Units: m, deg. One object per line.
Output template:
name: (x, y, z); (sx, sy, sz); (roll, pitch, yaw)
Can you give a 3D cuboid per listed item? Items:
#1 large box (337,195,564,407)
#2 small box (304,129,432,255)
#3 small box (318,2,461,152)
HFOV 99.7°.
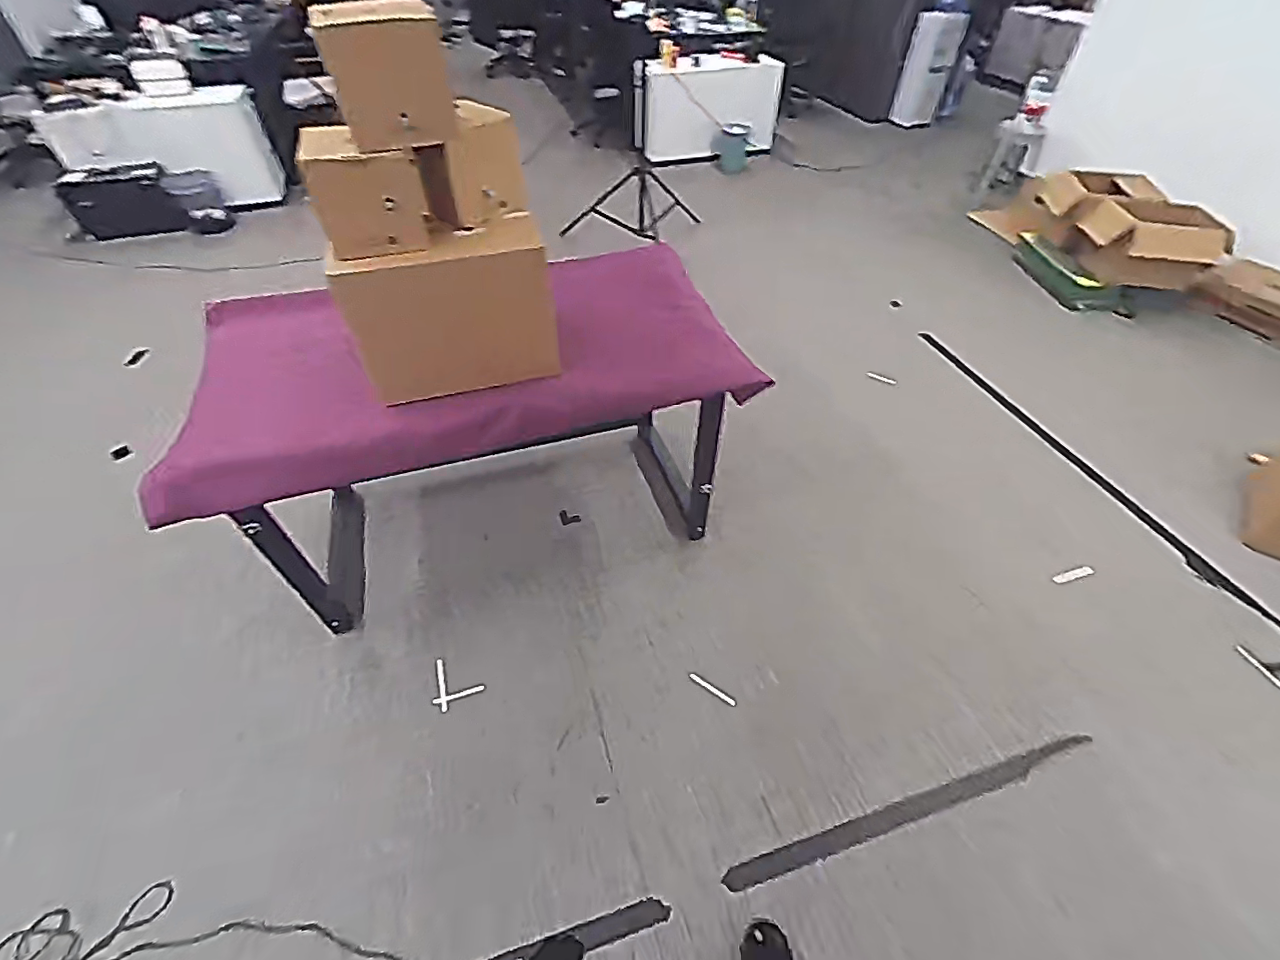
large box: (-0.410, -0.405, 1.213); (0.408, 0.320, 0.320); (-13, 51, -14)
small box: (-0.492, -0.528, 0.994); (0.168, 0.176, 0.179); (-13, 48, -15)
small box: (-0.408, -0.669, 0.901); (0.179, 0.176, 0.168); (-16, 50, -14)
